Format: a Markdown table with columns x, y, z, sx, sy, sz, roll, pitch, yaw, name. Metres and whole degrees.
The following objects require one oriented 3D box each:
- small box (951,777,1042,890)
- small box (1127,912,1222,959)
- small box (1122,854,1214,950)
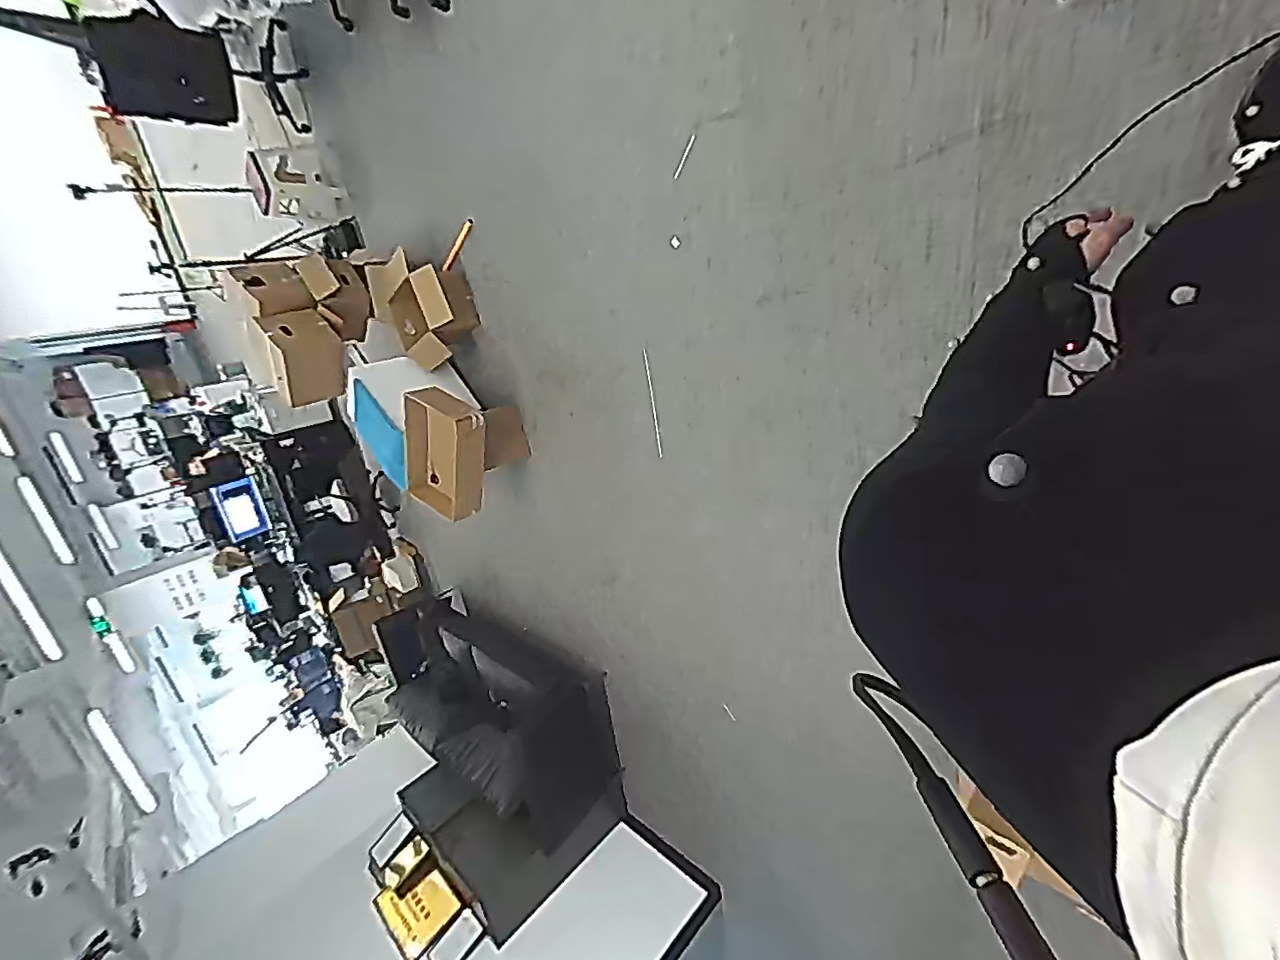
| x | y | z | sx | sy | sz | roll | pitch | yaw | name |
| --- | --- | --- | --- | --- | --- | --- | --- | --- | --- |
| 1.020 | 0.999 | 1.544 | 0.168 | 0.176 | 0.179 | 22 | 127 | 40 | small box |
| 1.322 | 1.244 | 1.343 | 0.168 | 0.176 | 0.179 | 6 | 115 | 48 | small box |
| 1.422 | 1.172 | 1.456 | 0.168 | 0.176 | 0.179 | 4 | 113 | 47 | small box |
